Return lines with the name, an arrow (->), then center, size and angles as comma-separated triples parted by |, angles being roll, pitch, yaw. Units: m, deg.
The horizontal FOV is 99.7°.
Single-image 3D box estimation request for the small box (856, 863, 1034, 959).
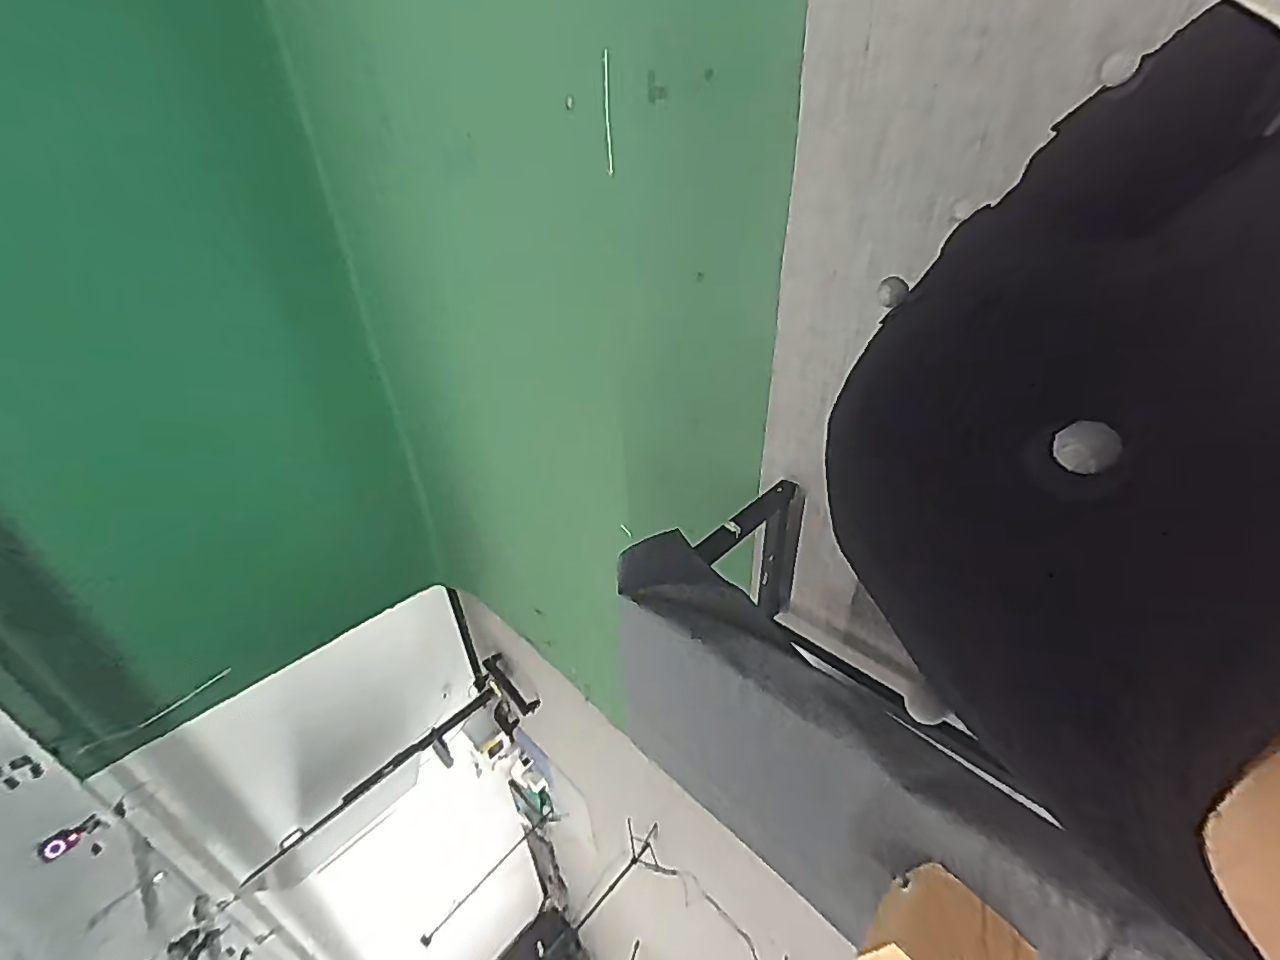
small box -> 0.495, 0.783, 0.882 | 0.179, 0.176, 0.168 | 38, 137, 29
